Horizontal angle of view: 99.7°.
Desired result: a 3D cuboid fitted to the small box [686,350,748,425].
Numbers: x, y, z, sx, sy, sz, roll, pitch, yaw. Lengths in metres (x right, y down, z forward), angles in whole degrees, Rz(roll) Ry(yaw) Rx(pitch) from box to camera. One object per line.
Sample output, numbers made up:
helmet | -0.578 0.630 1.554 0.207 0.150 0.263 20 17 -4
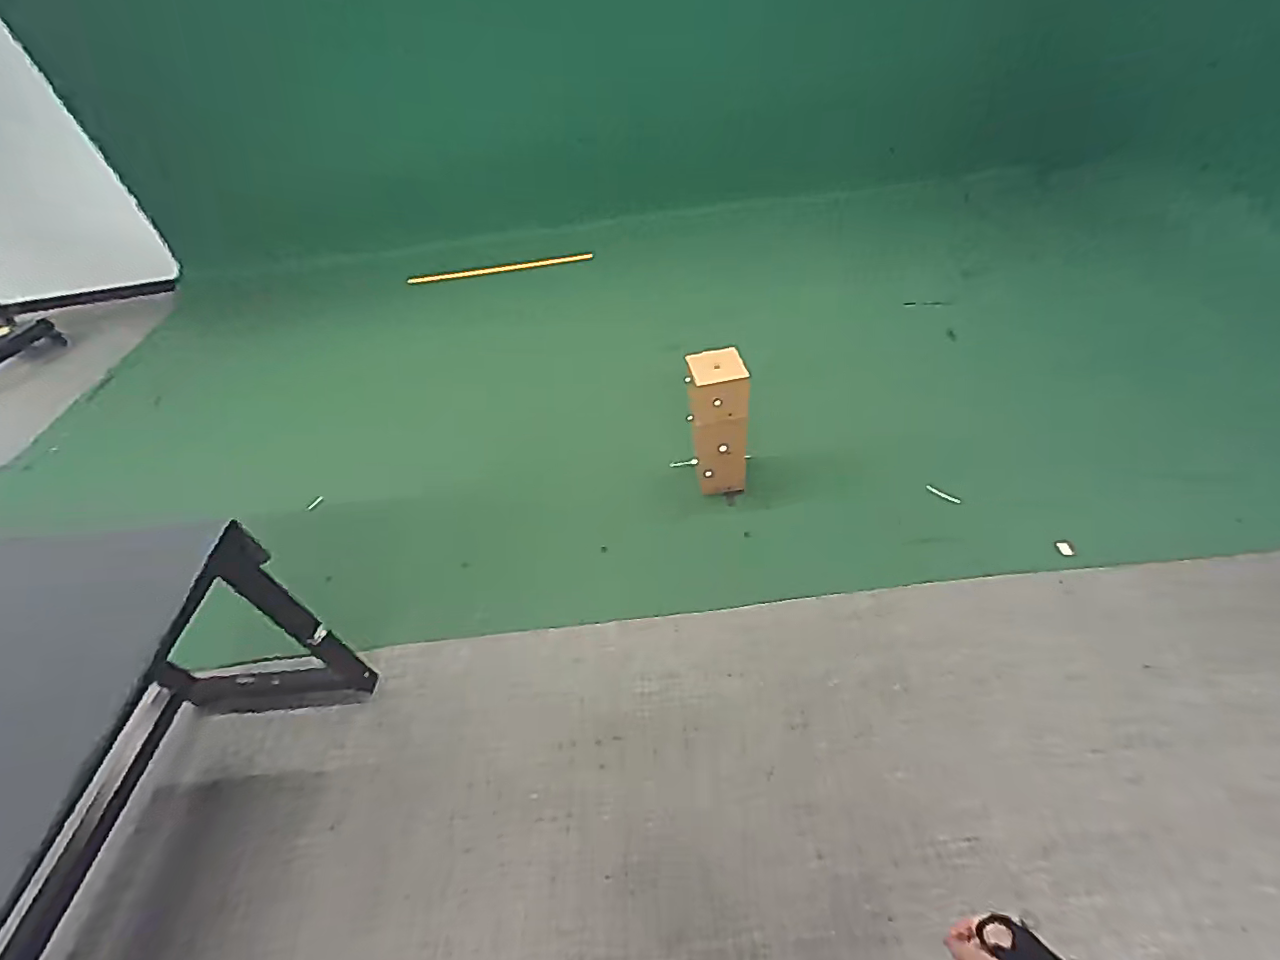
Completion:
small box | 0.254 -0.297 1.778 0.168 0.176 0.179 -11 44 -1

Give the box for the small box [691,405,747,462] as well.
small box | 0.272 -0.187 1.895 0.168 0.176 0.179 -9 45 1
